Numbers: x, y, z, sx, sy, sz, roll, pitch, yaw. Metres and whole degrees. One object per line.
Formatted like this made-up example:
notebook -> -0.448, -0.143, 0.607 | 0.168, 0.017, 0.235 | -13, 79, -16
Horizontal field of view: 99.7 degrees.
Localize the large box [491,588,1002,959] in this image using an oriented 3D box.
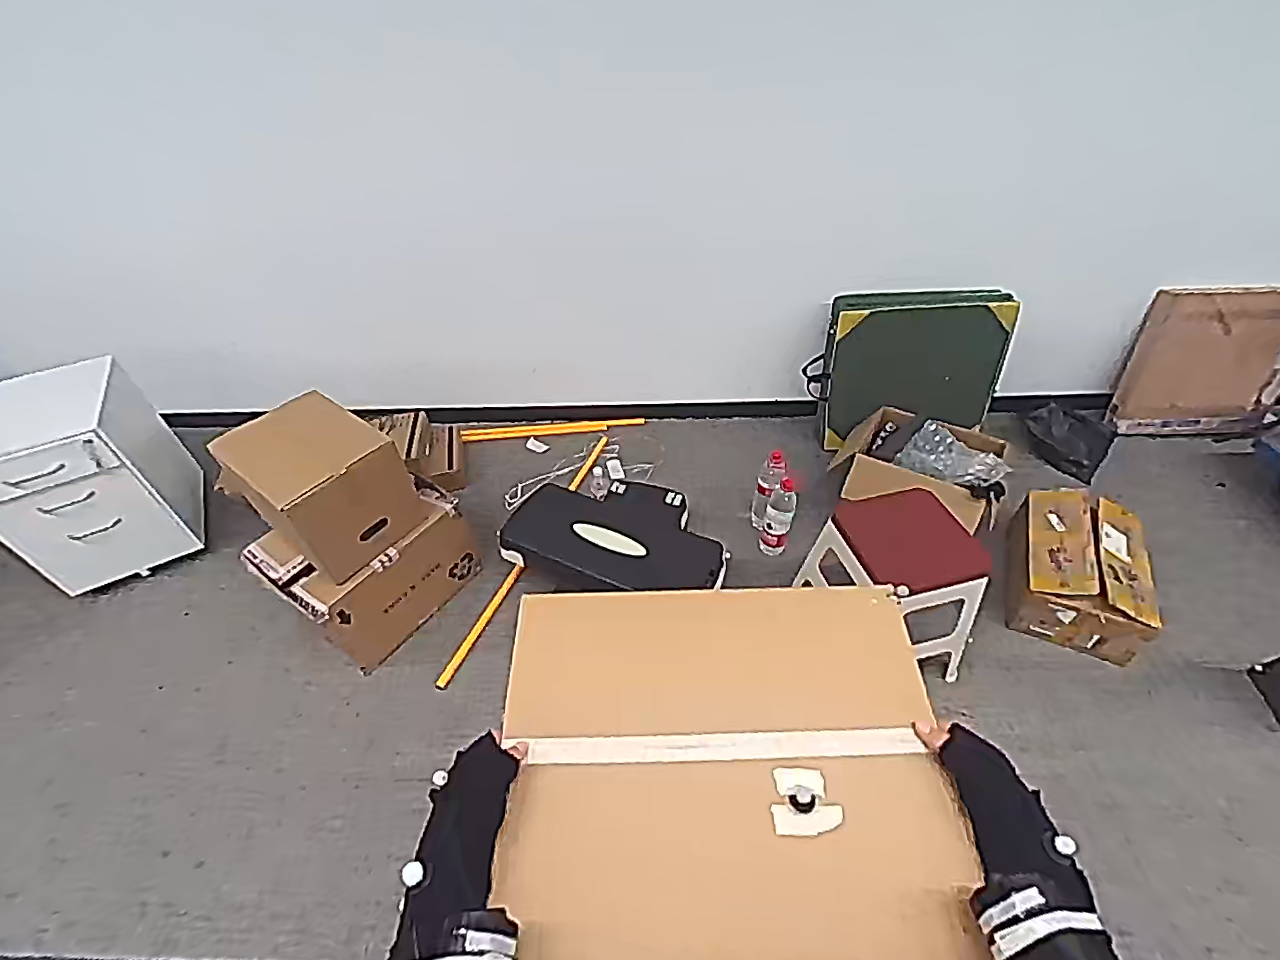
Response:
large box -> 0.081, 0.340, 0.620 | 0.408, 0.320, 0.320 | -2, 53, 1
